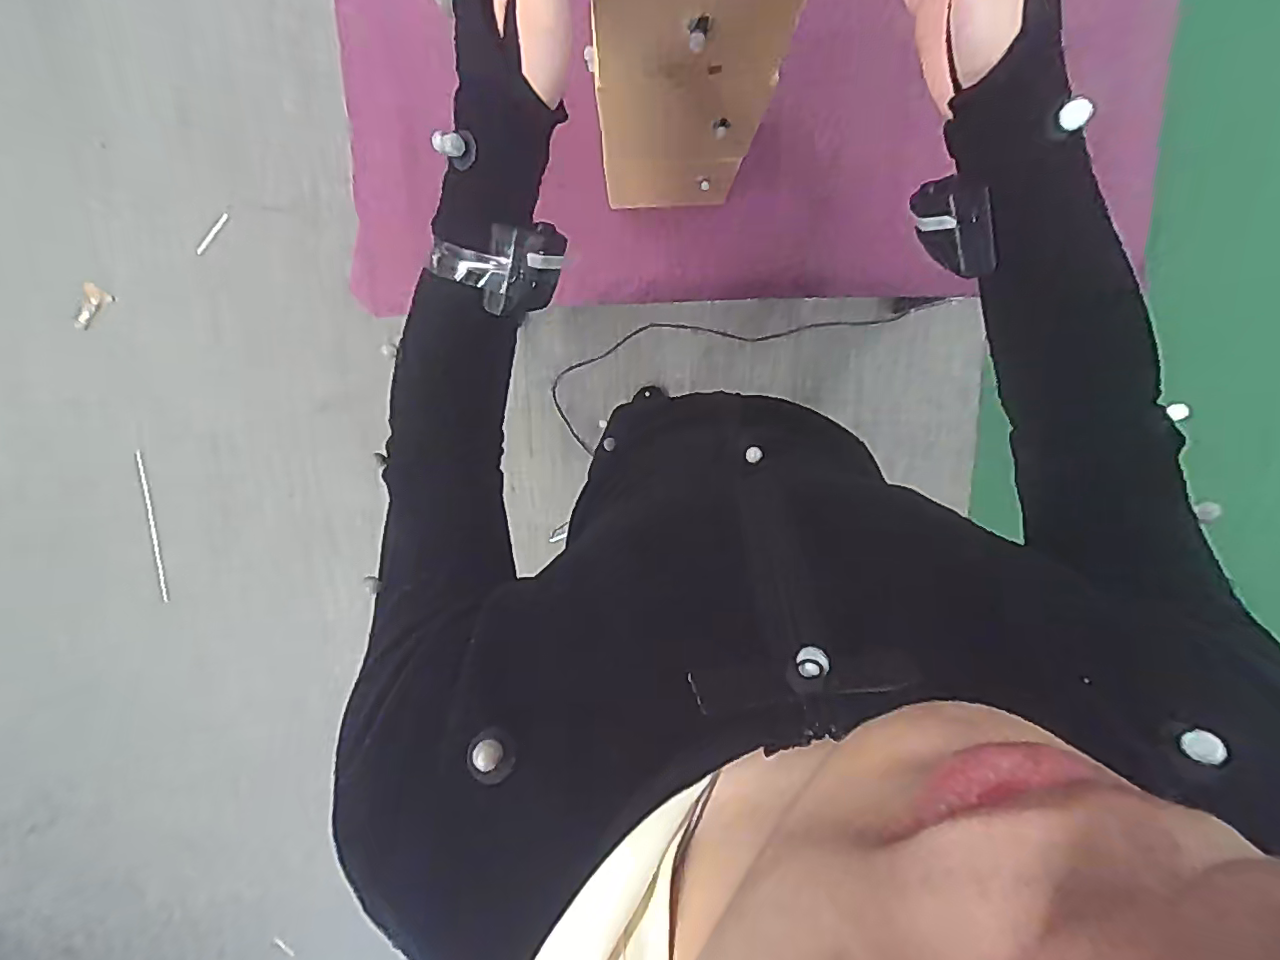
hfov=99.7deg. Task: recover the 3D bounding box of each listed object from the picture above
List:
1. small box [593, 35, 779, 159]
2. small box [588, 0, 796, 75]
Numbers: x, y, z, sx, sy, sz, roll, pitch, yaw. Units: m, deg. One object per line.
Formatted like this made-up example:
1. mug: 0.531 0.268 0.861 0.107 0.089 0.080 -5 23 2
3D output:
1. small box: 0.042 -0.463 0.574 0.179 0.176 0.168 -1 98 1
2. small box: 0.040 -0.444 0.413 0.168 0.176 0.179 -2 99 0
